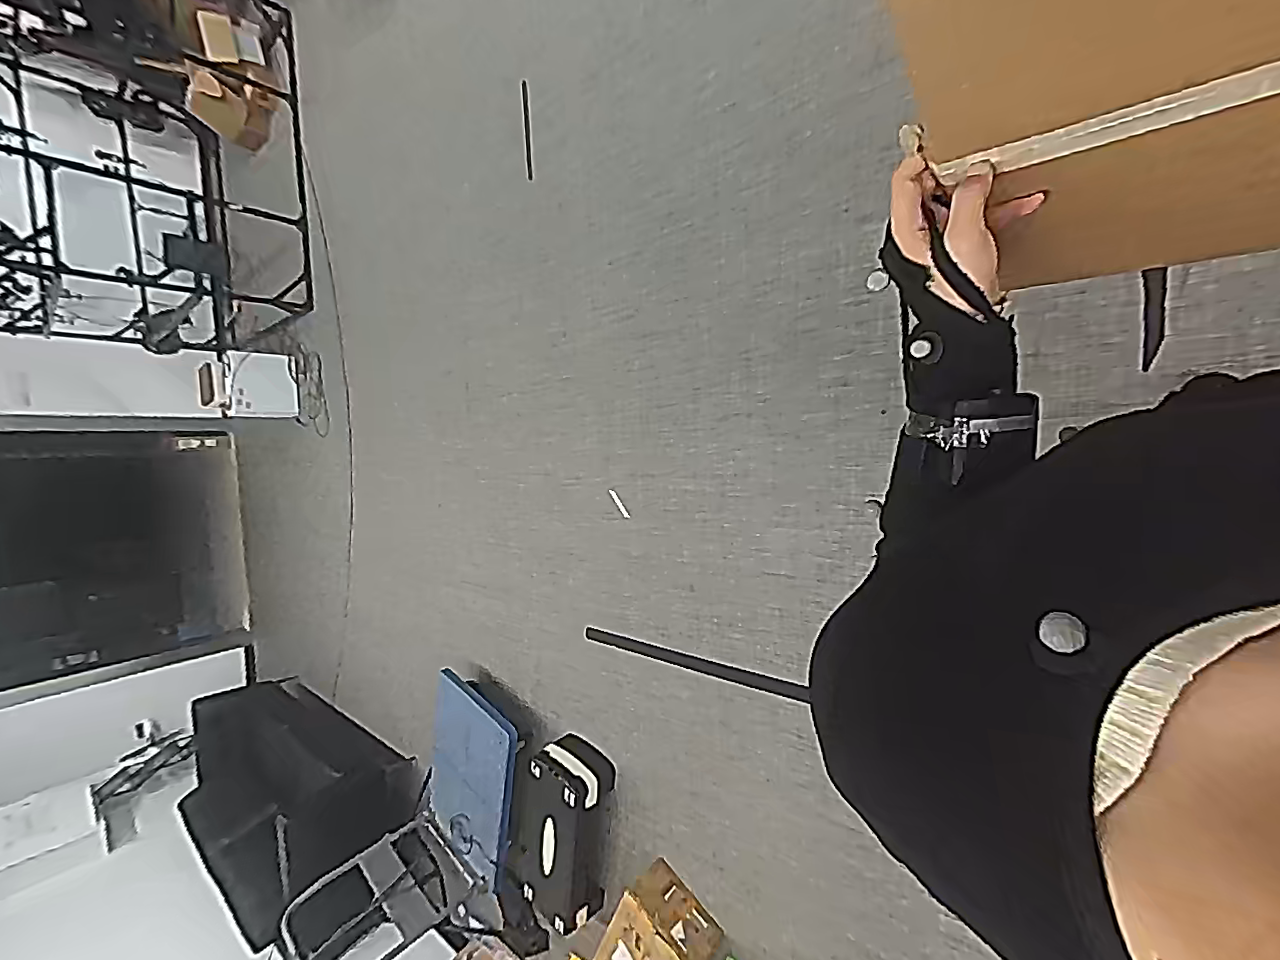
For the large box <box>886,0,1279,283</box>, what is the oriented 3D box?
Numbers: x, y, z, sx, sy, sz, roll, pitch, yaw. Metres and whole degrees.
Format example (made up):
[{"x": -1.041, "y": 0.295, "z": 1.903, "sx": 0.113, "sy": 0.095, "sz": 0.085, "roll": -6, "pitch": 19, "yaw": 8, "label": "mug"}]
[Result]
[{"x": 0.373, "y": -0.346, "z": 0.246, "sx": 0.408, "sy": 0.320, "sz": 0.320, "roll": 2, "pitch": 77, "yaw": 42, "label": "large box"}]
